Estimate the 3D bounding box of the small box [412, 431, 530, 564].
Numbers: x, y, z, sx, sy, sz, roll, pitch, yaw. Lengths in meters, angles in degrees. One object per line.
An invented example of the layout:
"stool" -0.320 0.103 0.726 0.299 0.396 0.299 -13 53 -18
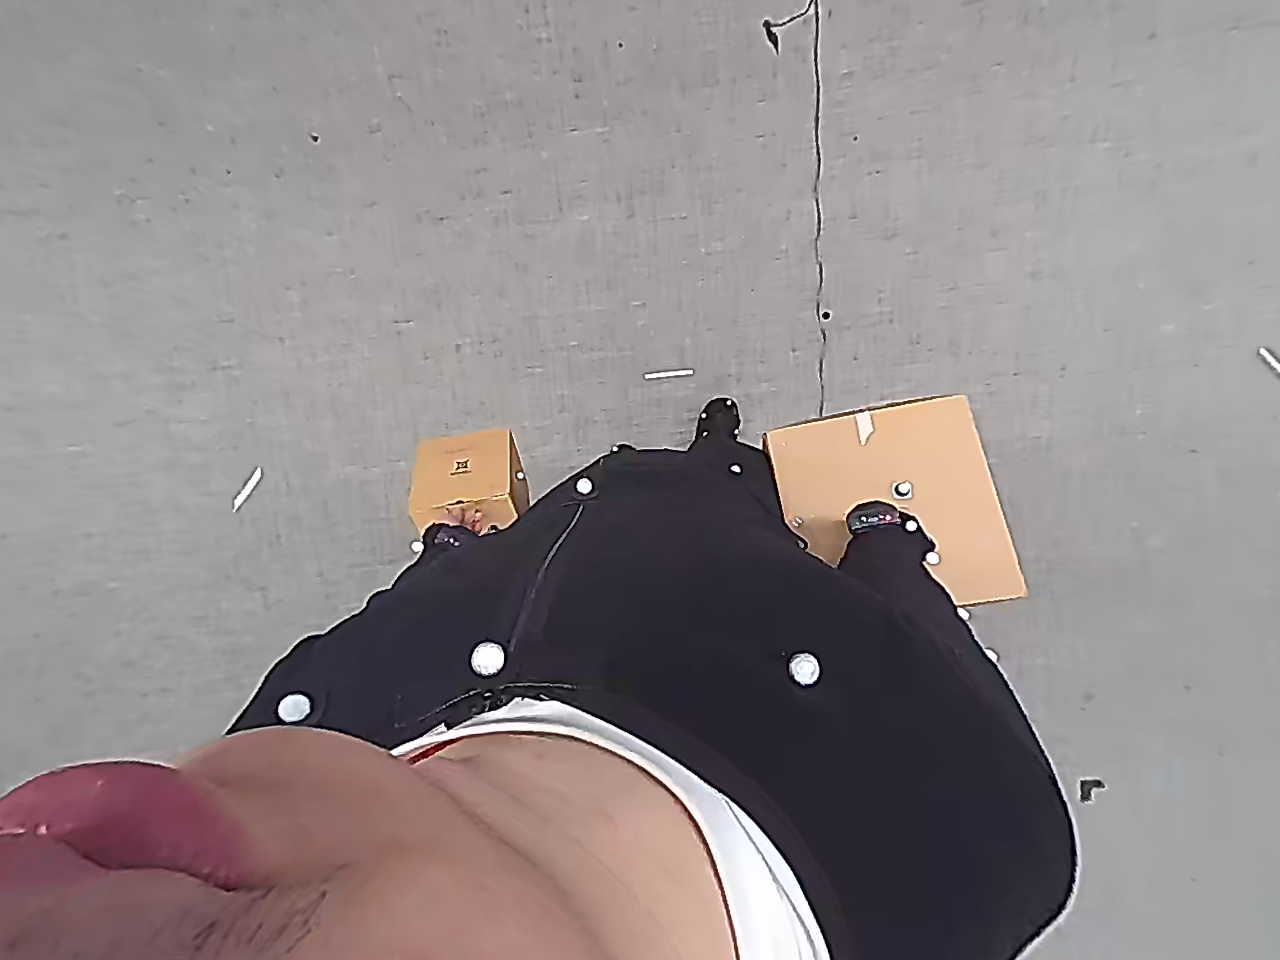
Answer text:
"small box" -0.300 0.038 0.994 0.168 0.179 0.176 -10 135 -5
